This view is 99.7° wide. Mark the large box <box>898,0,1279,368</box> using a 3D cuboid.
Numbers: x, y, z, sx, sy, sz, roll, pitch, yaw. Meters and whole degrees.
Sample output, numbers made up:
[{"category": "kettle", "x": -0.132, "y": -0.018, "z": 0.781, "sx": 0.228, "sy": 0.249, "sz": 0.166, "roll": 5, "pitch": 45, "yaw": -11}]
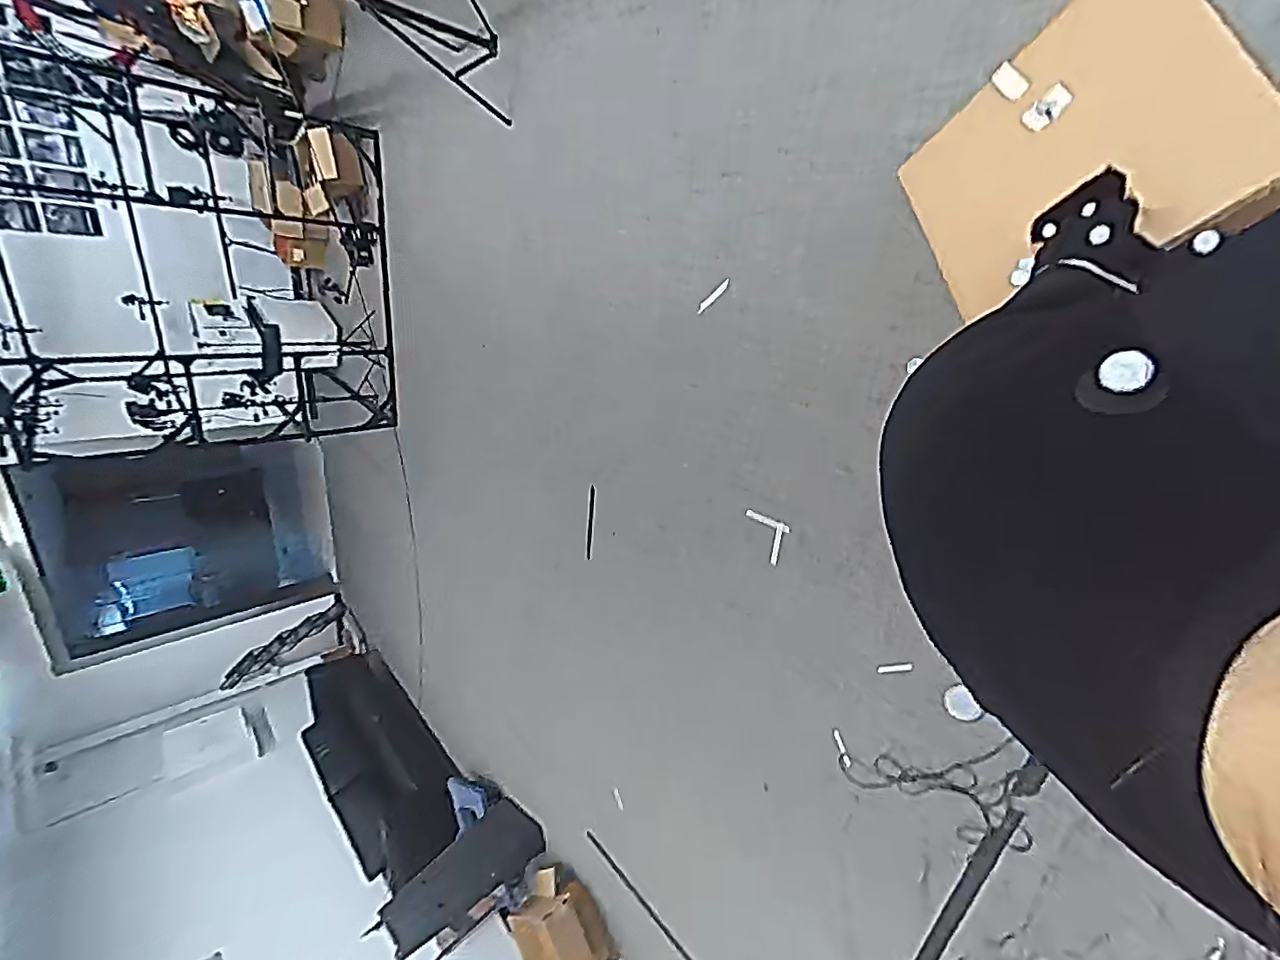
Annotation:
[{"category": "large box", "x": 0.654, "y": -0.377, "z": 0.751, "sx": 0.320, "sy": 0.408, "sz": 0.320, "roll": -35, "pitch": 62, "yaw": 55}]
